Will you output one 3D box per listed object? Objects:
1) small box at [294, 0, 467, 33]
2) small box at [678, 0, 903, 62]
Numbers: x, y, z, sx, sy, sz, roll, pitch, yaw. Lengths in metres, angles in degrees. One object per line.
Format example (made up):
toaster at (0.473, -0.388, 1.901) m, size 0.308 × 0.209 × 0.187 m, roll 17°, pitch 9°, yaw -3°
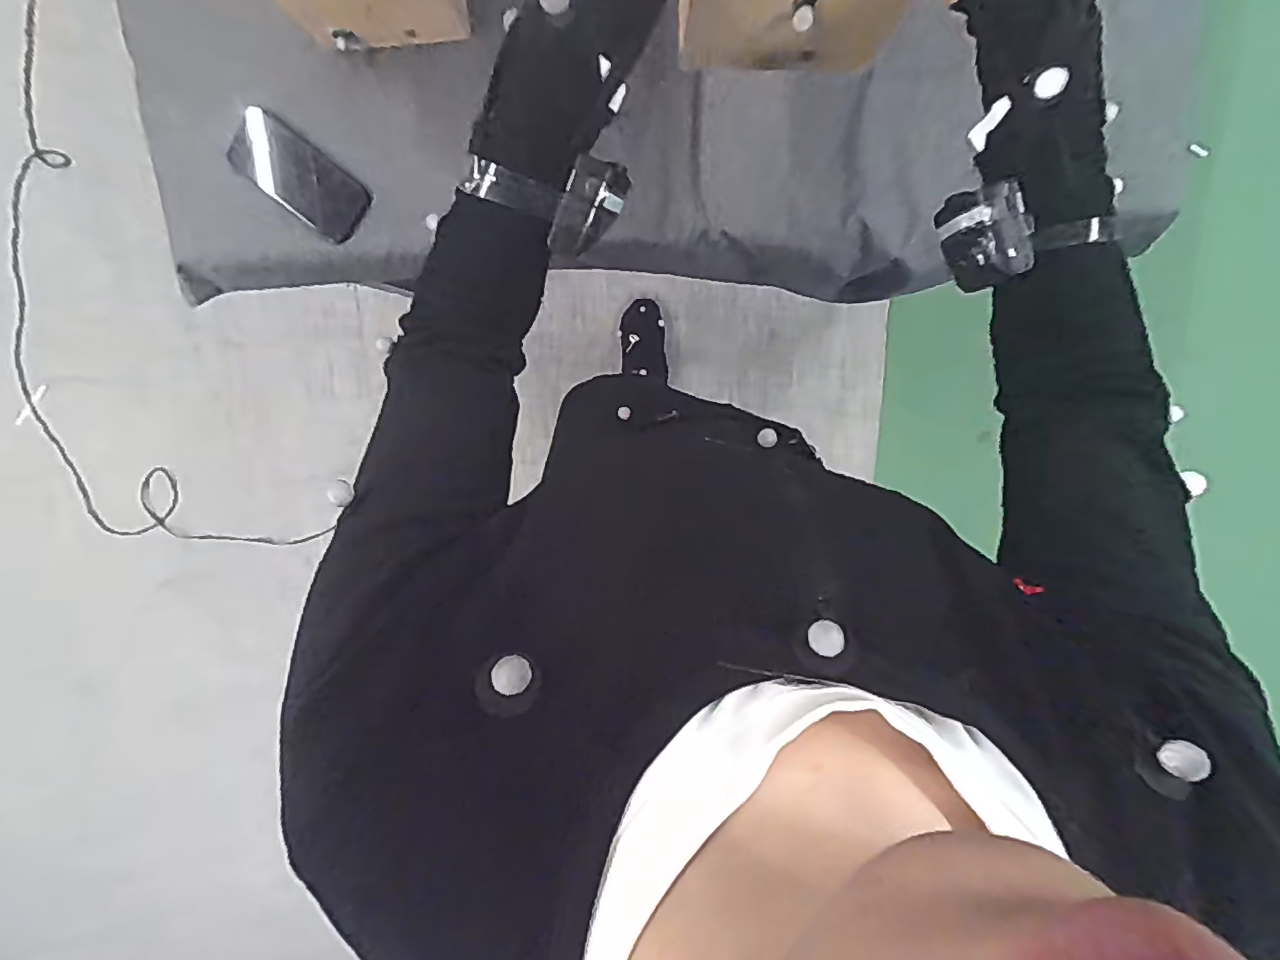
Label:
small box at (-0.275, -0.561, 0.508) m, size 0.168 × 0.176 × 0.179 m, roll -5°, pitch 102°, yaw 0°
small box at (0.115, -0.425, 0.368) m, size 0.168 × 0.176 × 0.179 m, roll -1°, pitch 98°, yaw -1°
